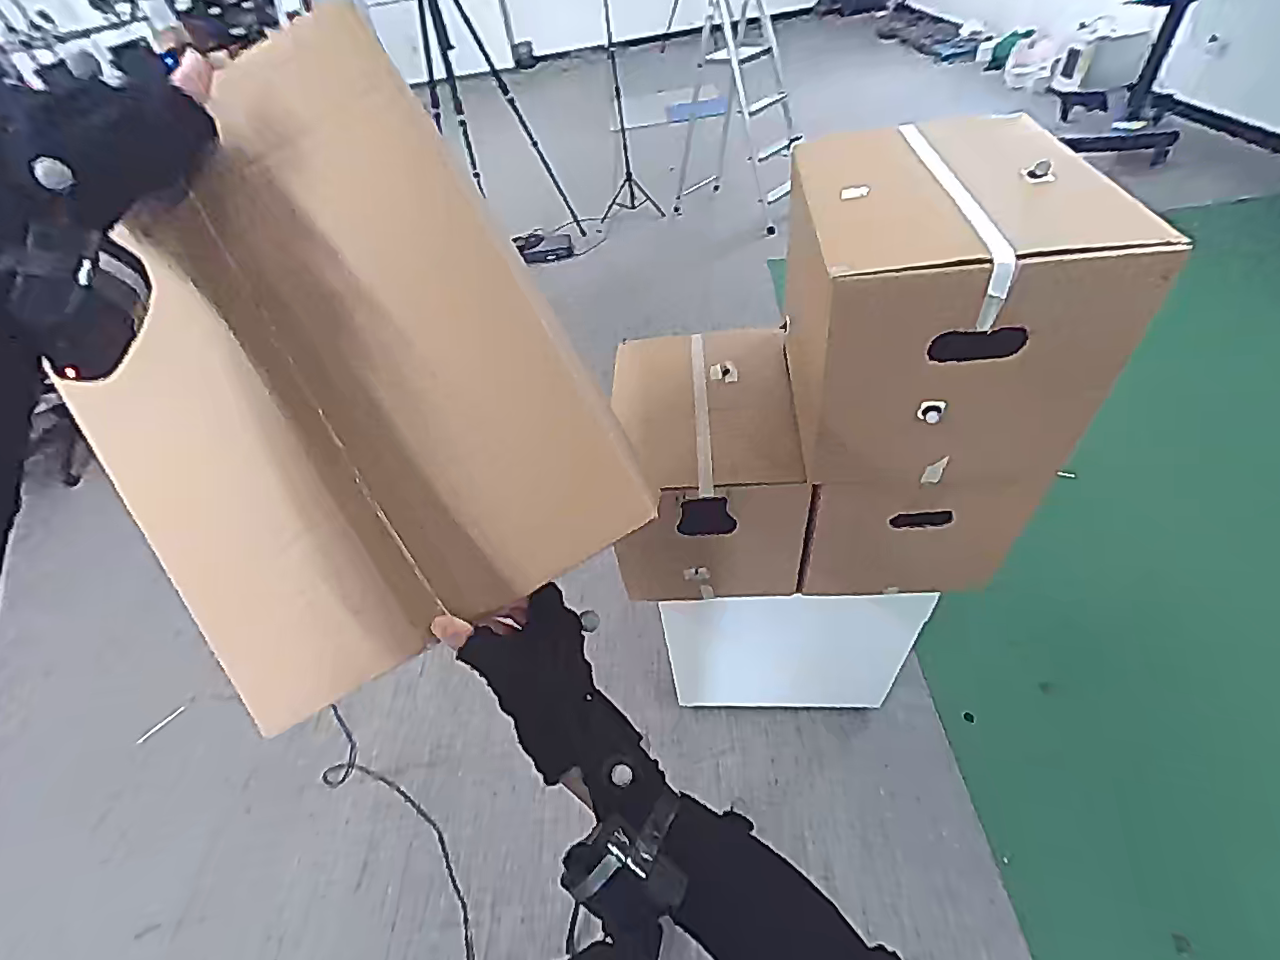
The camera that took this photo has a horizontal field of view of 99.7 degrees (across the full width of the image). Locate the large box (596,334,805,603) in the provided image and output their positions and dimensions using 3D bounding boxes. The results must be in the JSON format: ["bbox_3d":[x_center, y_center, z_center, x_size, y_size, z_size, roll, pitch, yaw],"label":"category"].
[{"bbox_3d":[0.111,-0.023,1.027,0.320,0.320,0.408,-4,46,7],"label":"large box"}]
